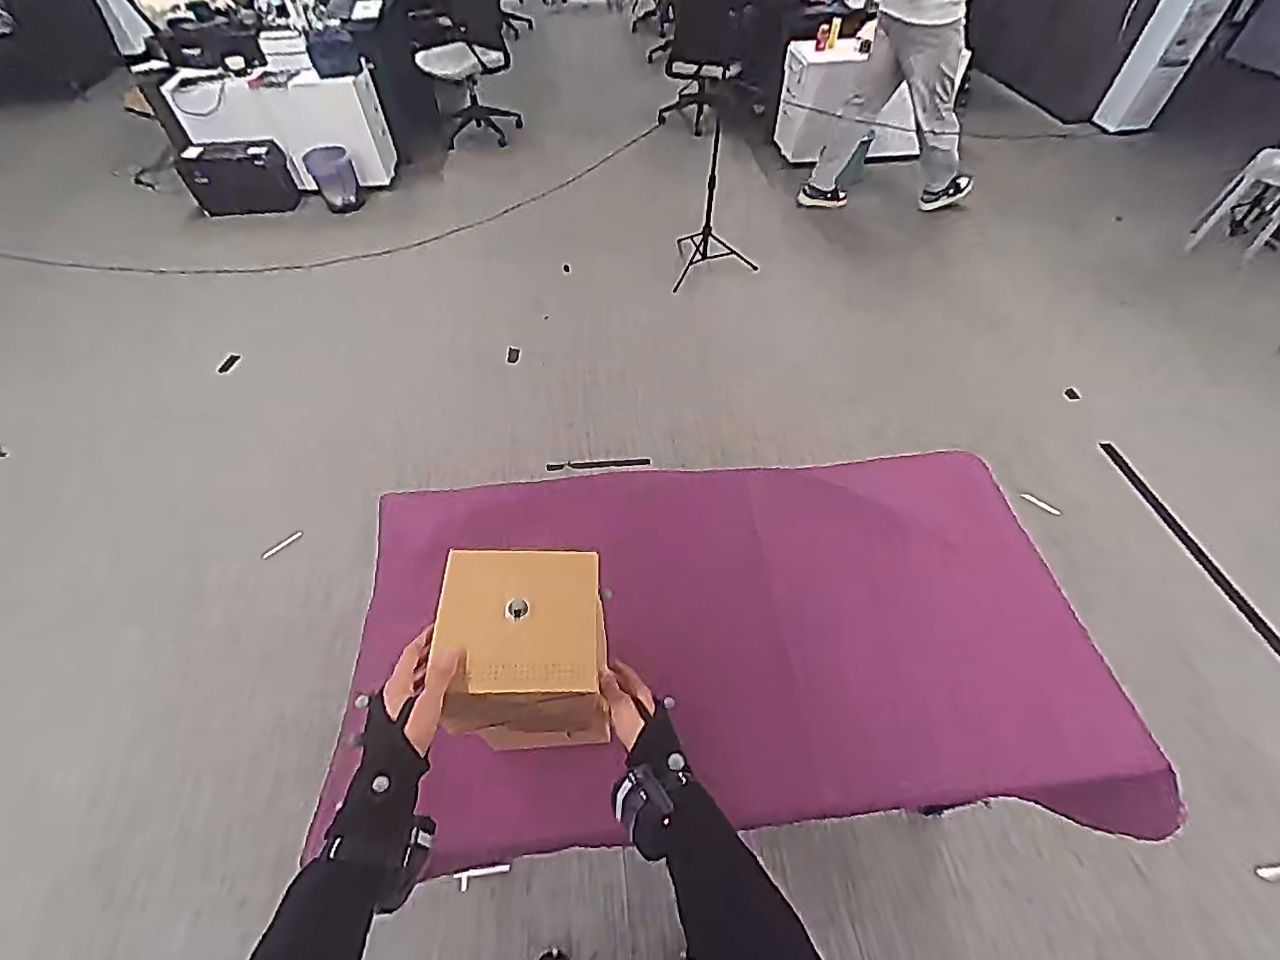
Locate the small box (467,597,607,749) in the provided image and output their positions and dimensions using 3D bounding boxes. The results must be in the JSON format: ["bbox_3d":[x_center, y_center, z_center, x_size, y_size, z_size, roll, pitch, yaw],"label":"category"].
[{"bbox_3d":[-0.138,0.286,0.796,0.179,0.176,0.168,-3,52,-2],"label":"small box"}]
